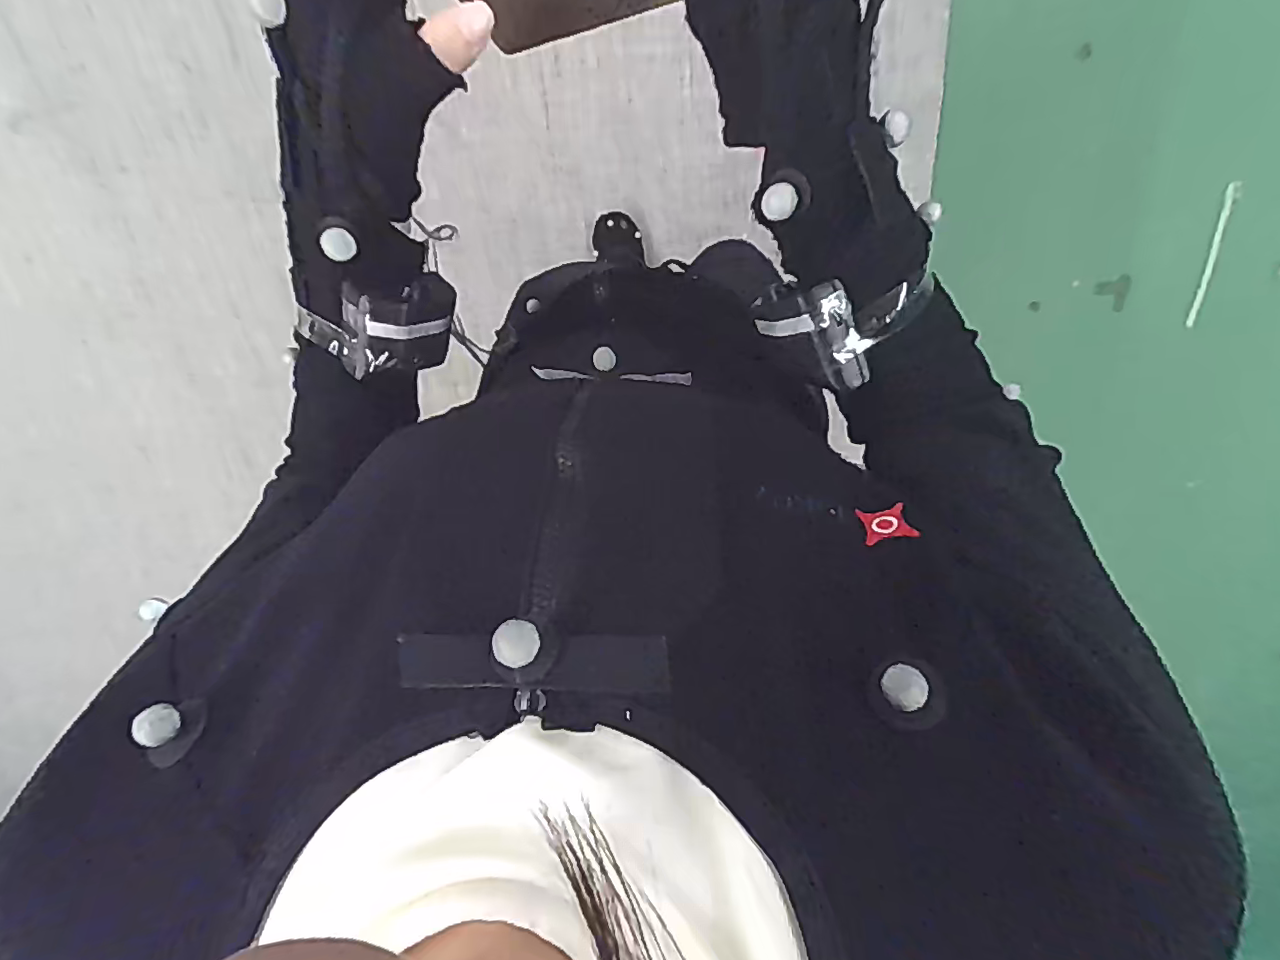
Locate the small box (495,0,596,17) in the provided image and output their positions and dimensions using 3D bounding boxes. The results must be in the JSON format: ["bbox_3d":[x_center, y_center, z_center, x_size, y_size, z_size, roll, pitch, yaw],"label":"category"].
[{"bbox_3d":[-0.029,-0.339,0.225,0.168,0.176,0.179,-11,110,10],"label":"small box"}]

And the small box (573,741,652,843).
[{"bbox_3d":[-0.066,0.817,1.429,0.179,0.176,0.168,-9,111,6],"label":"small box"}]
